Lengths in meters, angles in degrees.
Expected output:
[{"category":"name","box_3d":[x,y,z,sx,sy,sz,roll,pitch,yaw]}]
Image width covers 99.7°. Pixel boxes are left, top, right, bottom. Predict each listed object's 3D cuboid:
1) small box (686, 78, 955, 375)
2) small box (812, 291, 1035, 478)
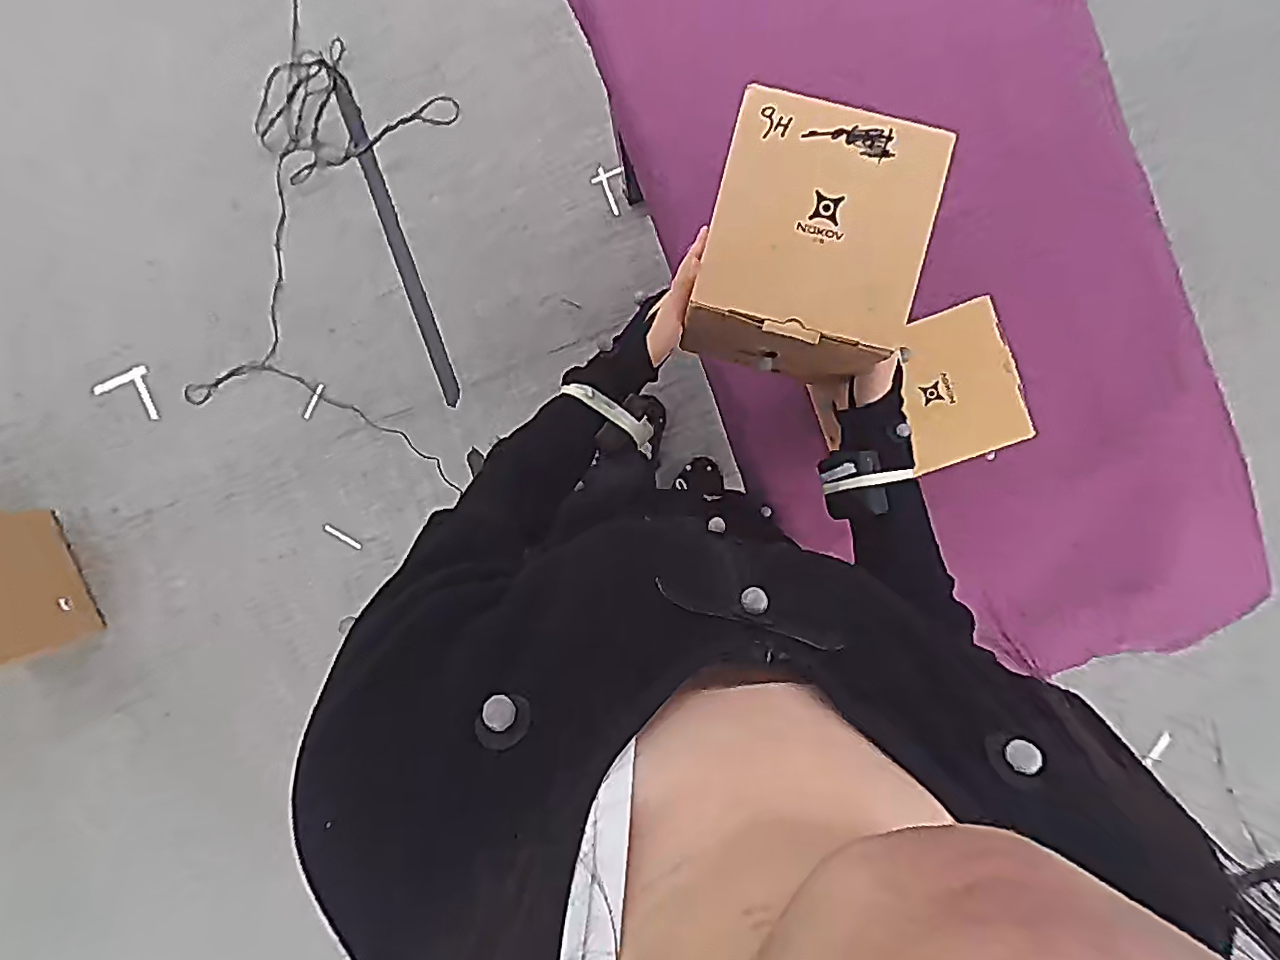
[{"category":"small box","box_3d":[0.141,-0.205,0.491,0.168,0.176,0.179,15,93,1]},{"category":"small box","box_3d":[0.333,-0.107,0.679,0.179,0.176,0.168,-20,92,3]}]
